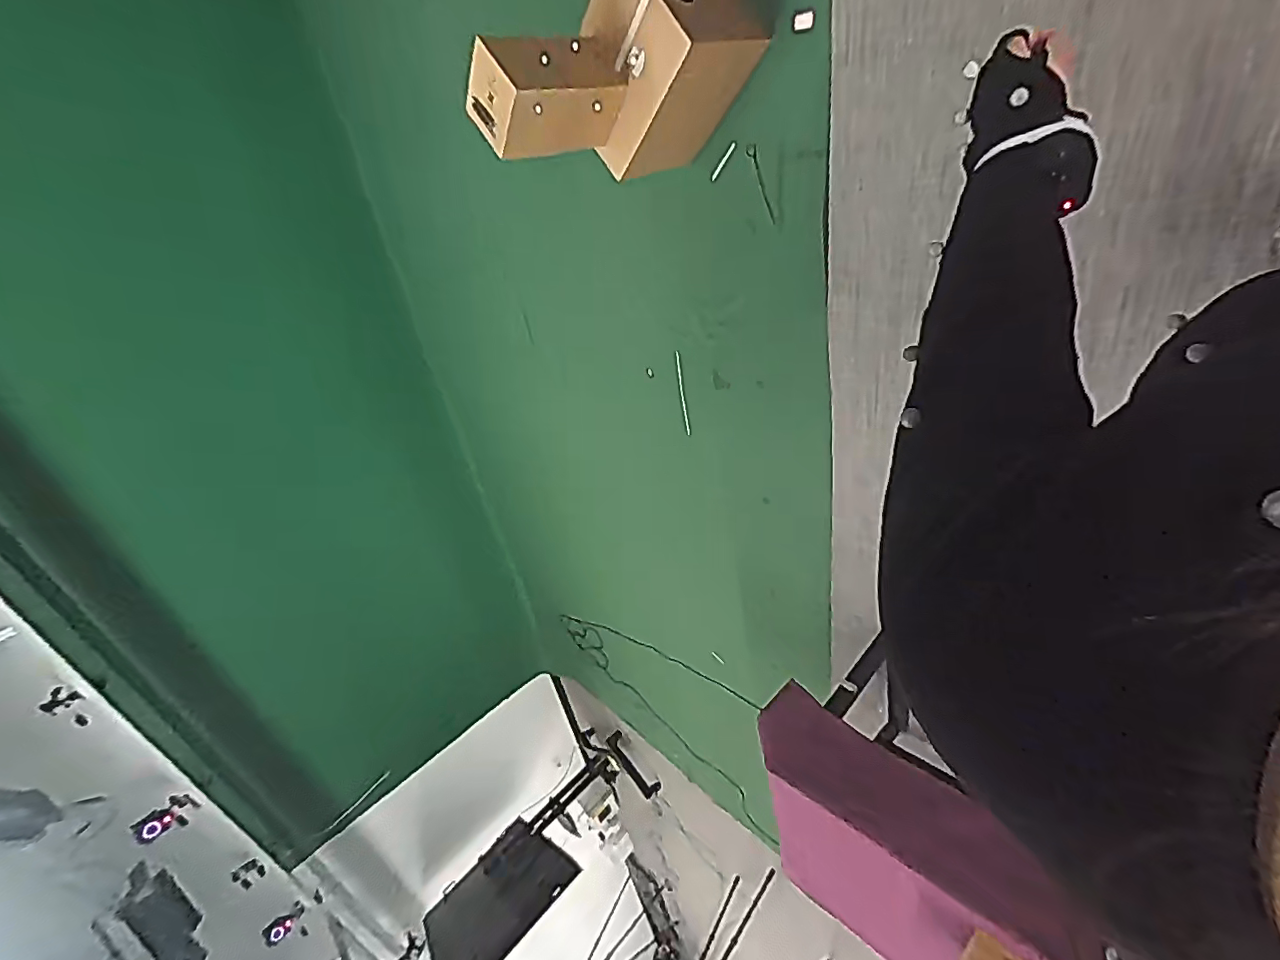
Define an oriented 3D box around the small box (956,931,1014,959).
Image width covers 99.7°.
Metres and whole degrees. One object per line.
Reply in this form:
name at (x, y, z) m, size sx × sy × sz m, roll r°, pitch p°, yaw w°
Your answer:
small box at (0.770, 1.154, 1.181) m, size 0.168 × 0.176 × 0.179 m, roll 26°, pitch 135°, yaw 39°
